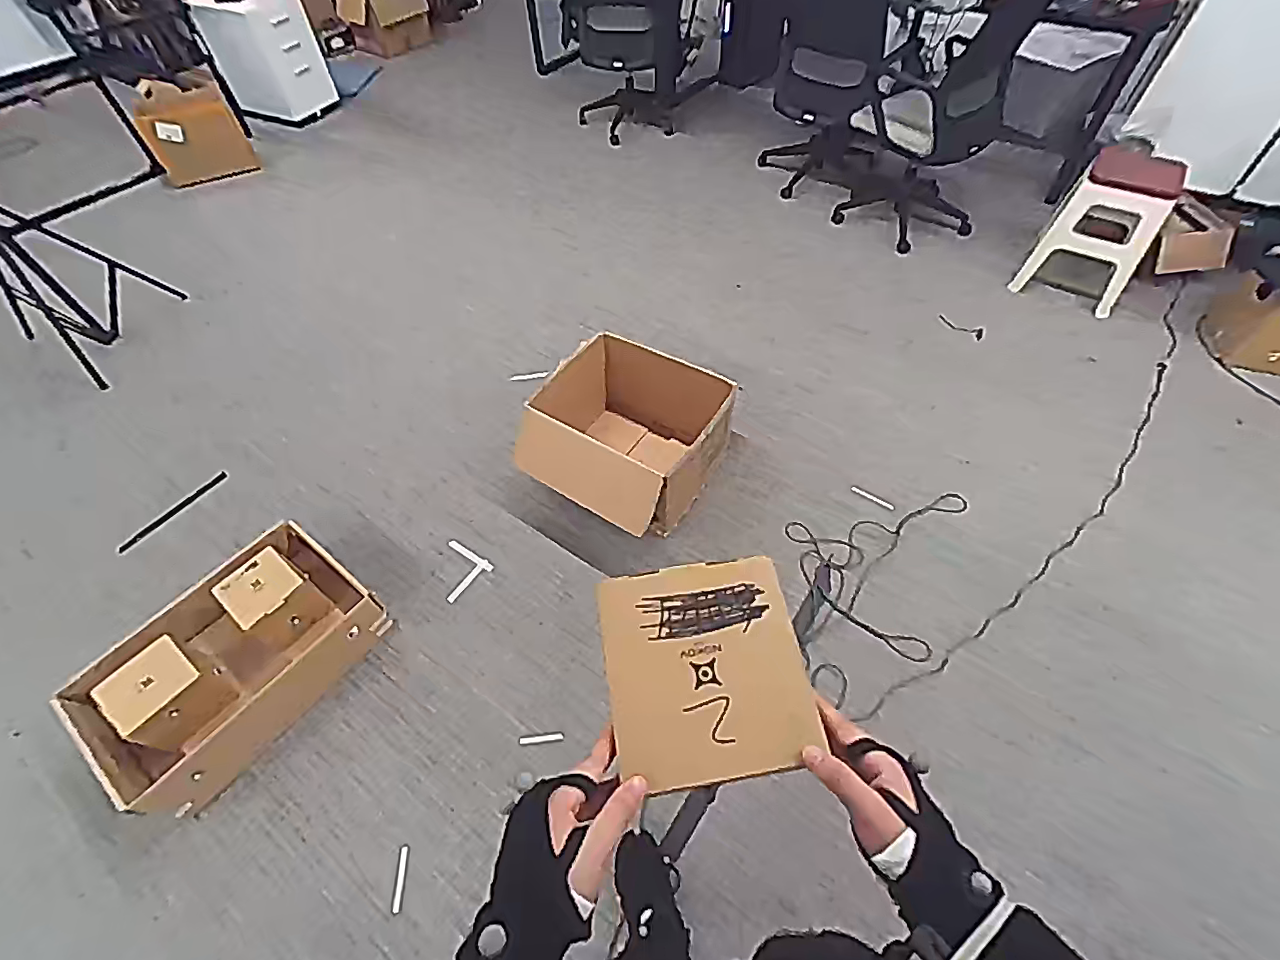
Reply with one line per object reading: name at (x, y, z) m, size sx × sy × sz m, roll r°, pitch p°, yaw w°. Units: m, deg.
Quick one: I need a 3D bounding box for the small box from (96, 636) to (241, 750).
small box at (-1.135, 0.523, 1.315) m, size 0.168 × 0.176 × 0.179 m, roll 31°, pitch 59°, yaw 20°

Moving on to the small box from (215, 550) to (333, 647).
small box at (-0.971, 0.327, 1.453) m, size 0.179 × 0.176 × 0.168 m, roll 34°, pitch 62°, yaw 21°
